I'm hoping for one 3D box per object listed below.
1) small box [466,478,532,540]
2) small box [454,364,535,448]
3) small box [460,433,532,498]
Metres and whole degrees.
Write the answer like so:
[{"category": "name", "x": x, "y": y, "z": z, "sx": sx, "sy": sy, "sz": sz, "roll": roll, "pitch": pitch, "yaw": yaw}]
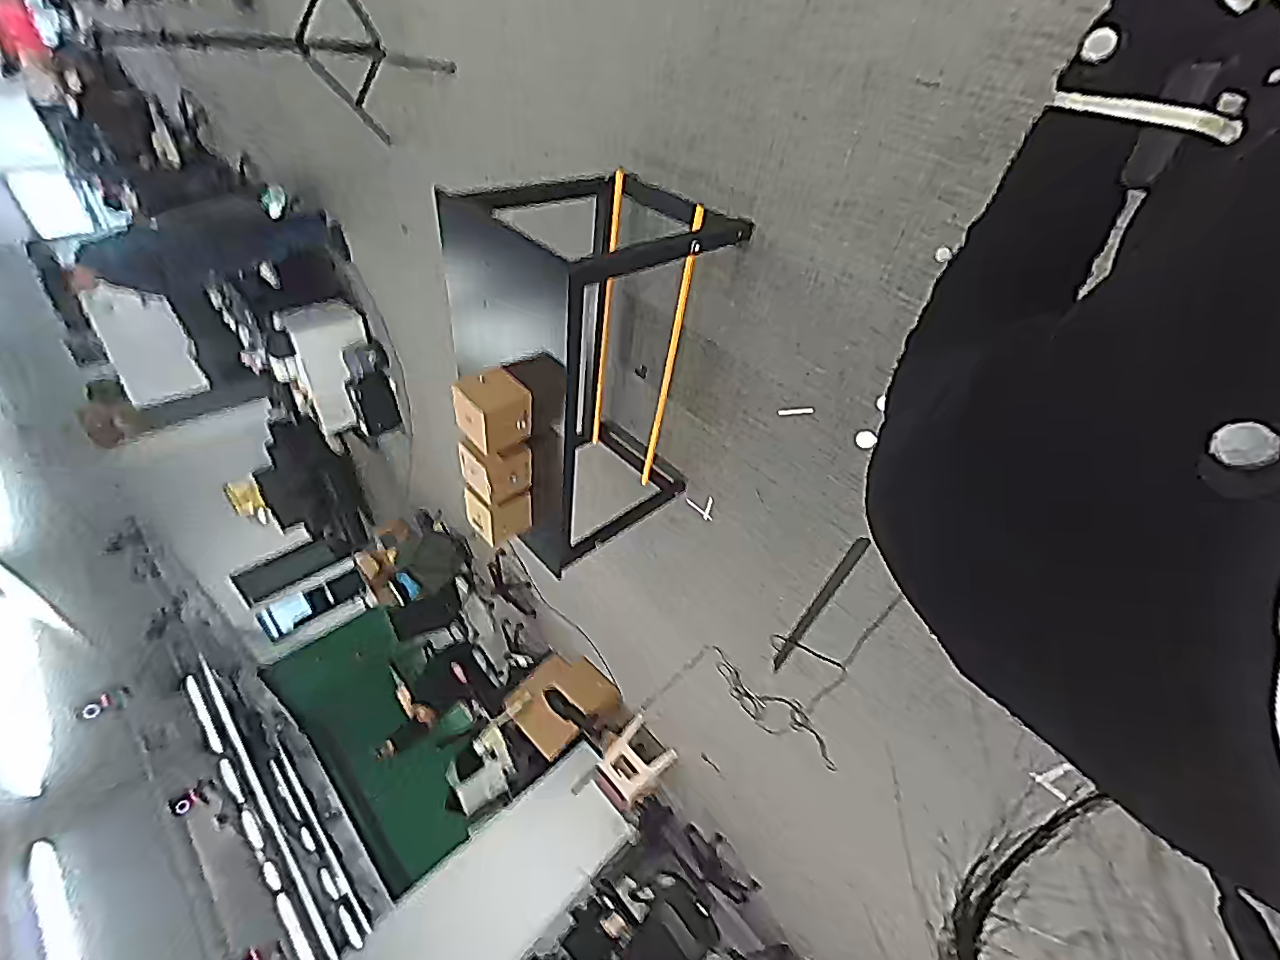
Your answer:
[{"category": "small box", "x": -0.503, "y": 0.076, "z": 1.951, "sx": 0.168, "sy": 0.176, "sz": 0.179, "roll": 38, "pitch": 140, "yaw": 28}, {"category": "small box", "x": -0.440, "y": -0.234, "z": 1.644, "sx": 0.179, "sy": 0.176, "sz": 0.168, "roll": 40, "pitch": 143, "yaw": 26}, {"category": "small box", "x": -0.474, "y": -0.077, "z": 1.803, "sx": 0.179, "sy": 0.176, "sz": 0.168, "roll": 40, "pitch": 141, "yaw": 26}]
